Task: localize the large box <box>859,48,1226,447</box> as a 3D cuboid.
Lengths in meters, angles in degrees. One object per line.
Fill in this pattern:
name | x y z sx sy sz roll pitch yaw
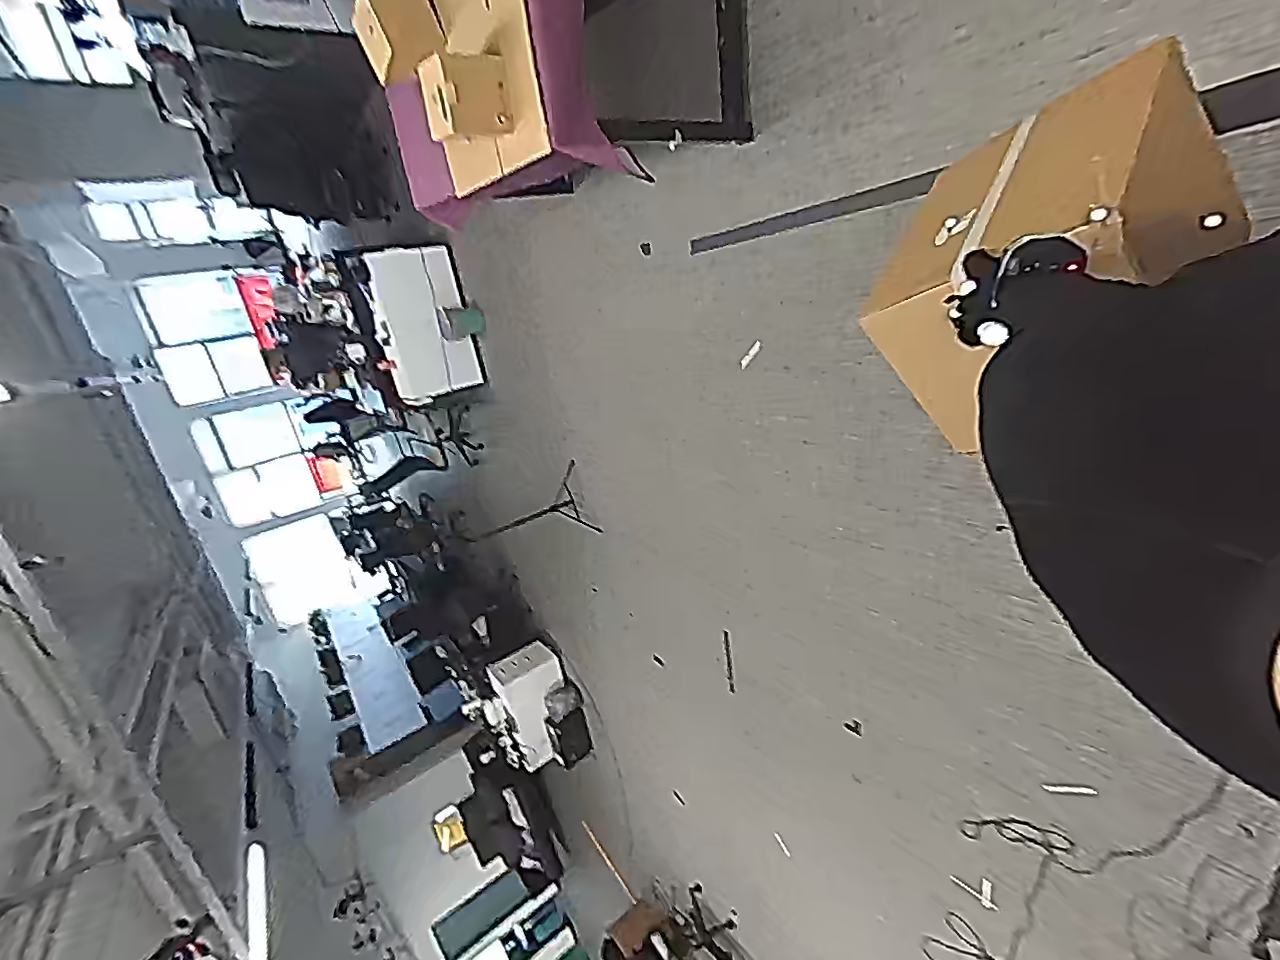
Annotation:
large box | 0.608 -0.312 0.813 0.320 0.408 0.320 42 156 -19
